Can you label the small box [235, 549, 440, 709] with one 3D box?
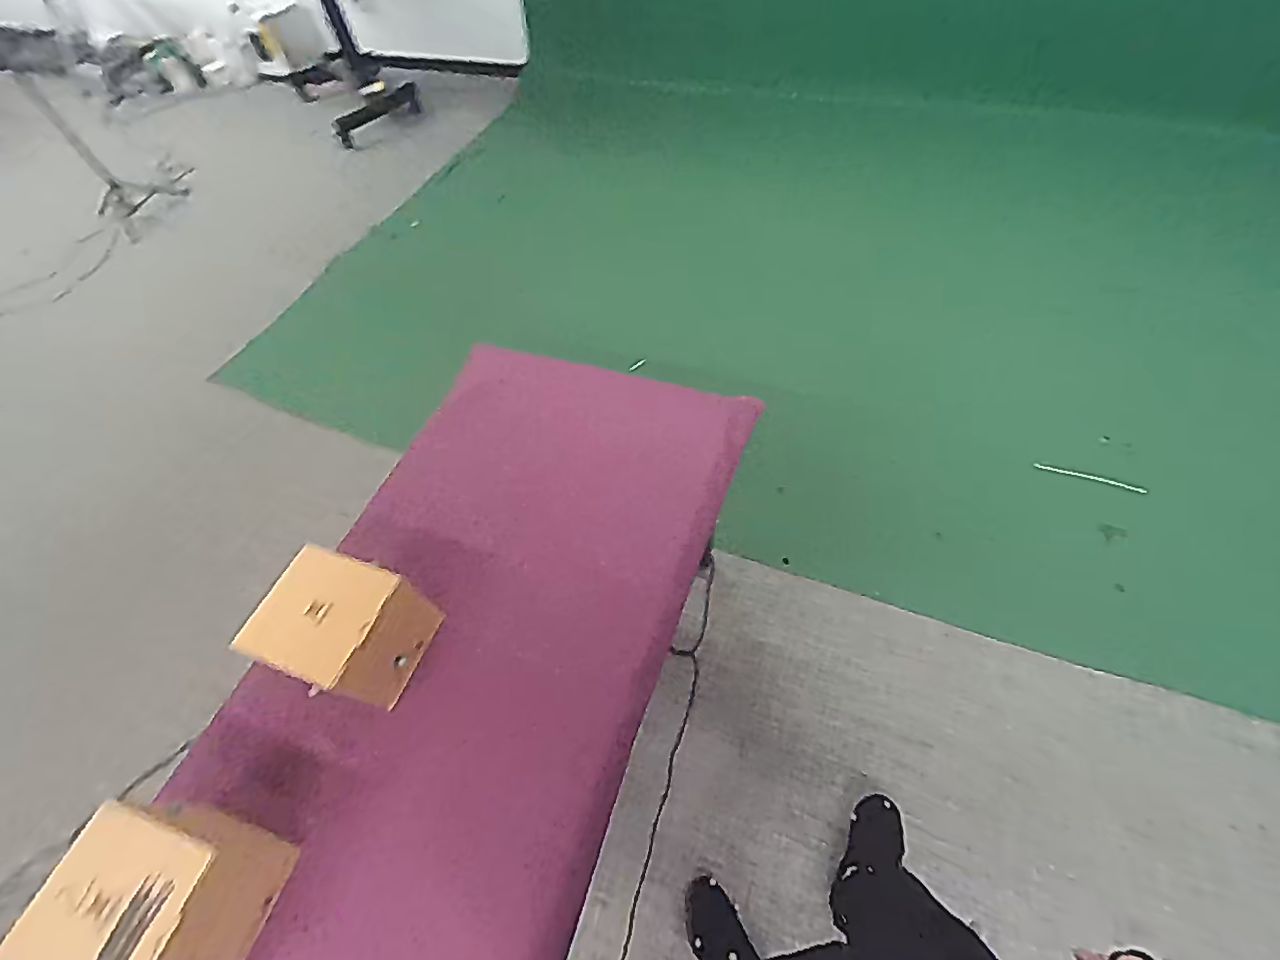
[{"bbox_3d":[-0.444,0.232,0.826,0.179,0.176,0.168,14,60,14],"label":"small box"}]
